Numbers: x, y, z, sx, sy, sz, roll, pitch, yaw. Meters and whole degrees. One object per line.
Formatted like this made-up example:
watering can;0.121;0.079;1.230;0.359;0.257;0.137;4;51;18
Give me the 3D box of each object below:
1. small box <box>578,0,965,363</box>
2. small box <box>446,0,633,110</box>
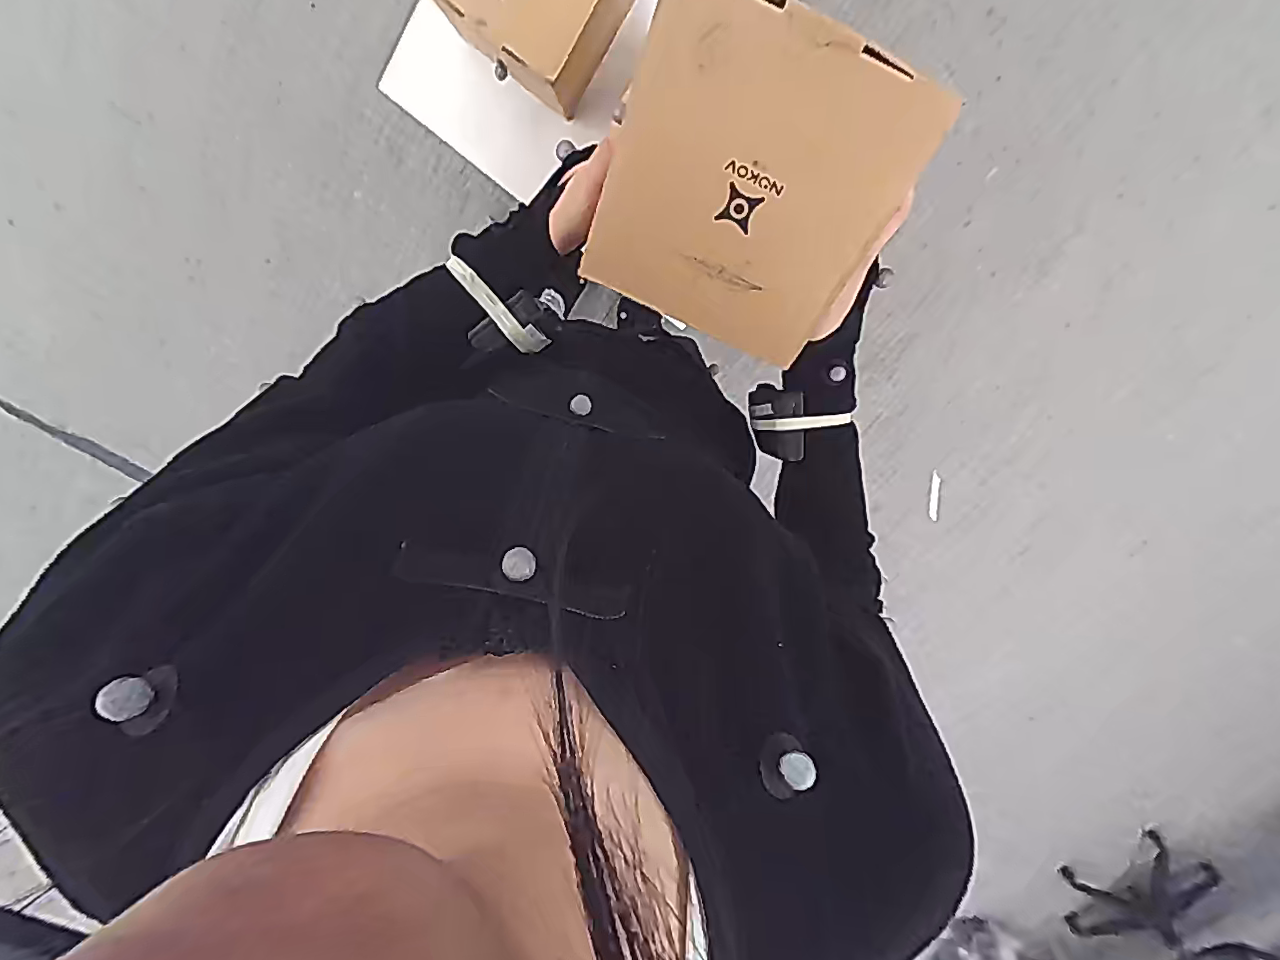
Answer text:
small box;0.077;-0.222;0.378;0.168;0.176;0.179;24;133;-6
small box;-0.107;-0.552;0.586;0.168;0.176;0.179;33;109;-14
